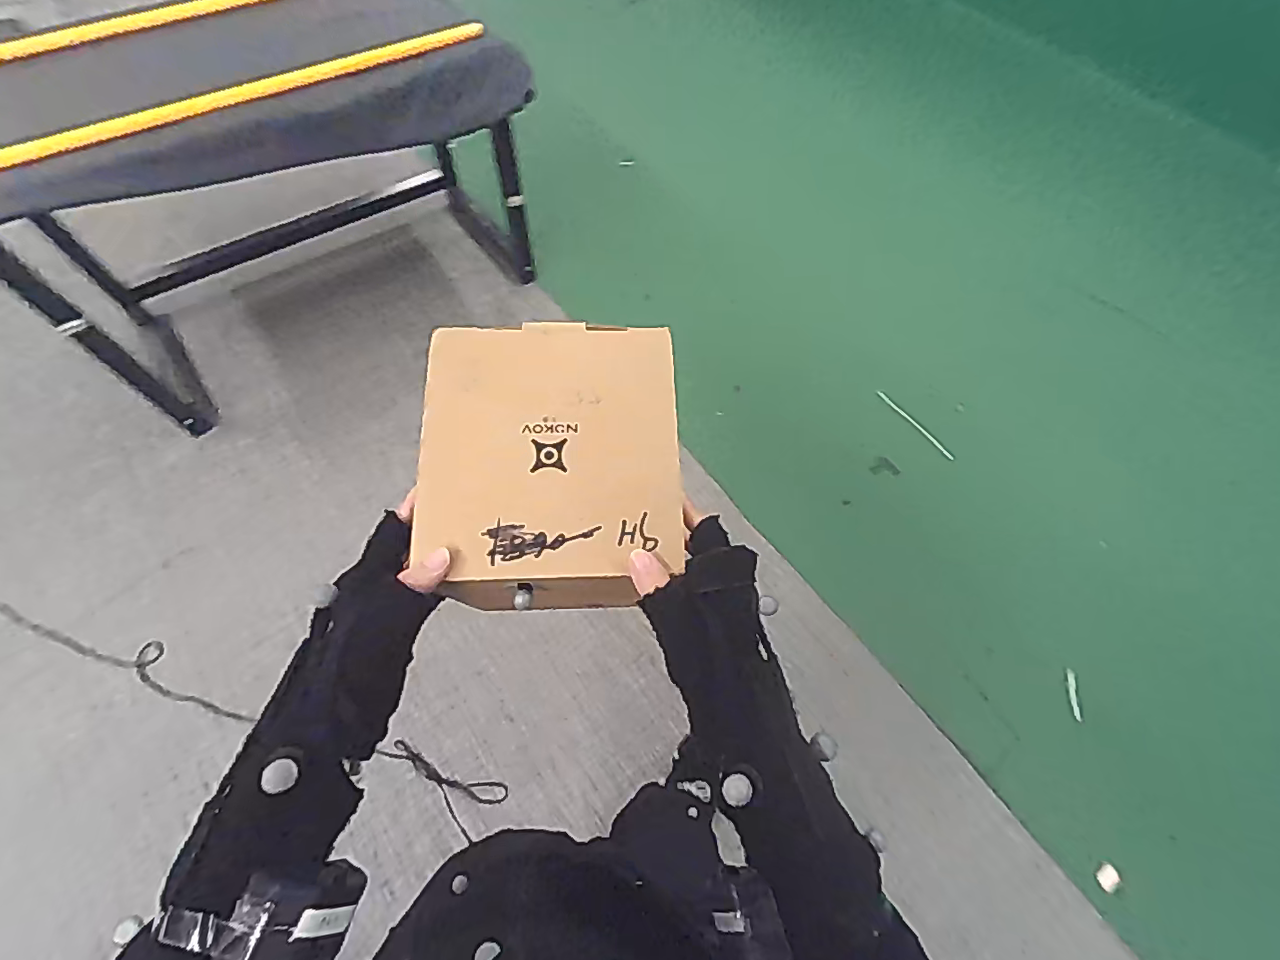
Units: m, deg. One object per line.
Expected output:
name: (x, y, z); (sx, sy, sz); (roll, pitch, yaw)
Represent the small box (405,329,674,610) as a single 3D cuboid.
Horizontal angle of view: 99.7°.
small box: (-0.066, 0.002, 0.431); (0.168, 0.176, 0.179); (-2, 70, -2)
